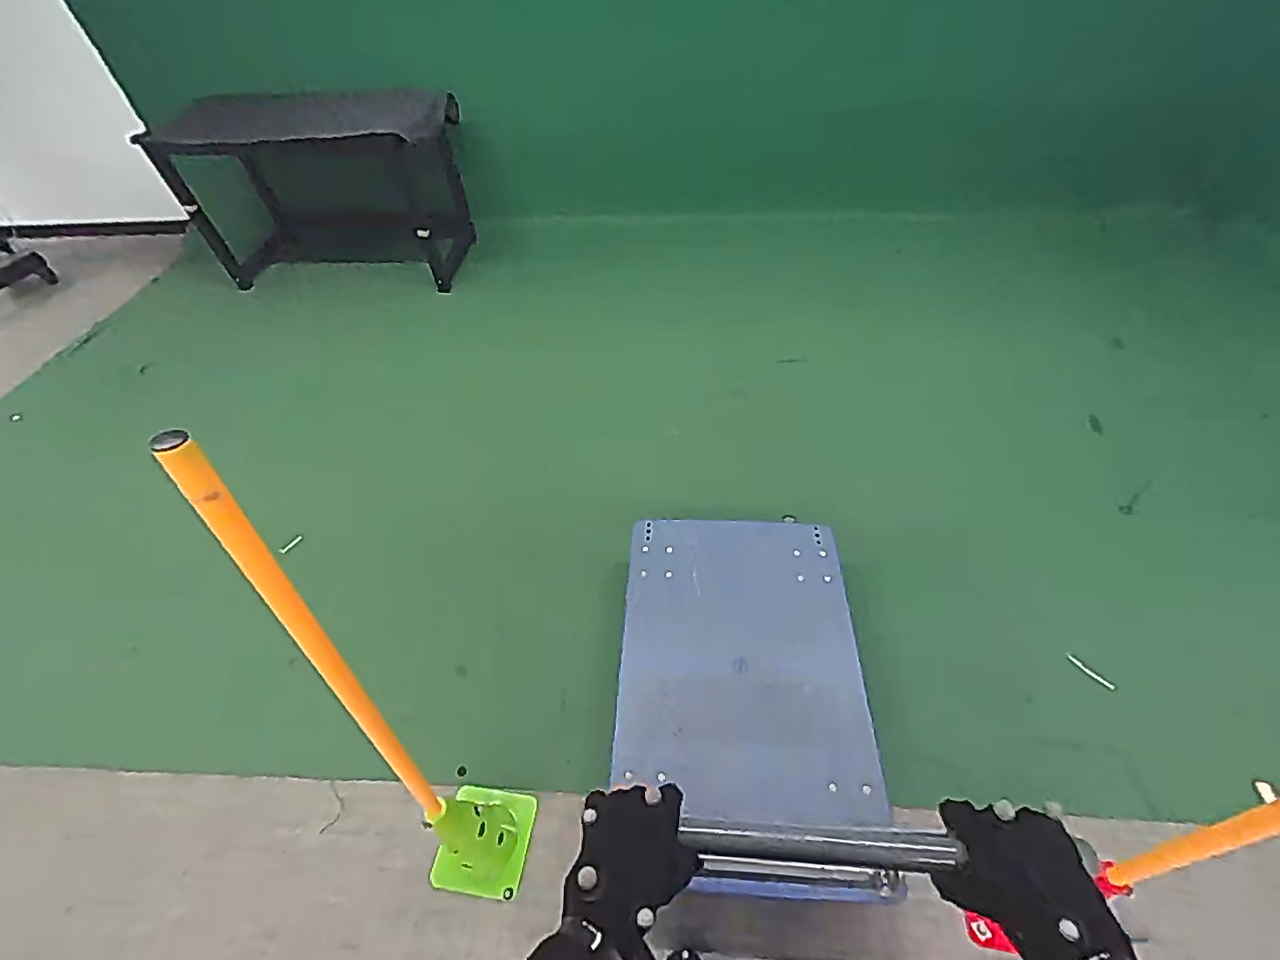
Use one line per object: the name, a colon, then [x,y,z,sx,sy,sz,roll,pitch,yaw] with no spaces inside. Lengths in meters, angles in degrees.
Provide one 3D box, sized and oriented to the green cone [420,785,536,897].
green cone: [-0.365,0.709,1.116,0.202,0.368,0.200,4,49,8]
